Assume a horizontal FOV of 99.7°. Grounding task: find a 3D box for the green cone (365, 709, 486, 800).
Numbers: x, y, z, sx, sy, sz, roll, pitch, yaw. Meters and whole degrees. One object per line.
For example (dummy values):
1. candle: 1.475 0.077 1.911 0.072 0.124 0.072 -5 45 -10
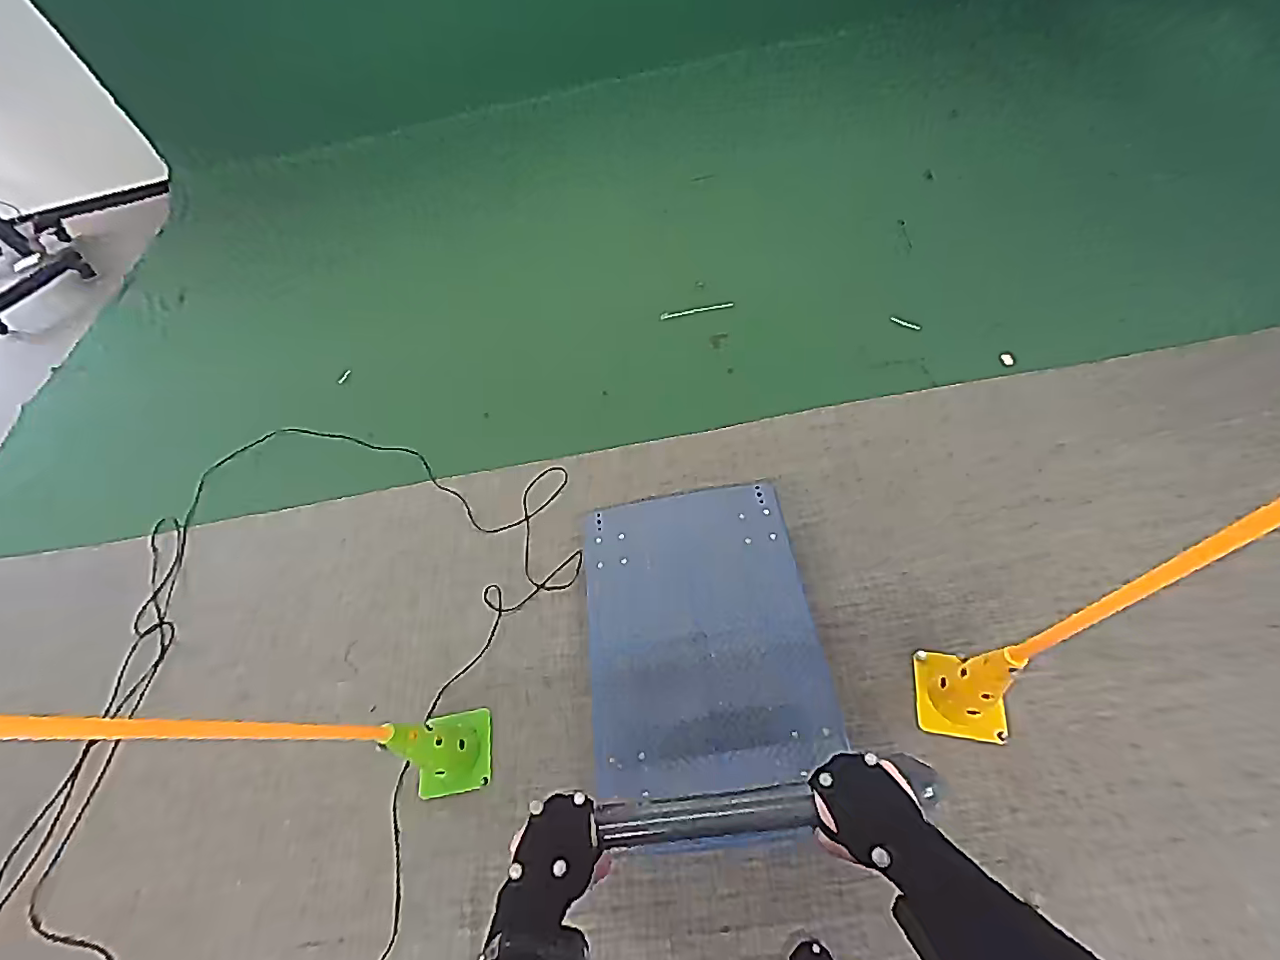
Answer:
1. green cone: -0.545 0.647 1.326 0.202 0.368 0.200 -14 55 3
